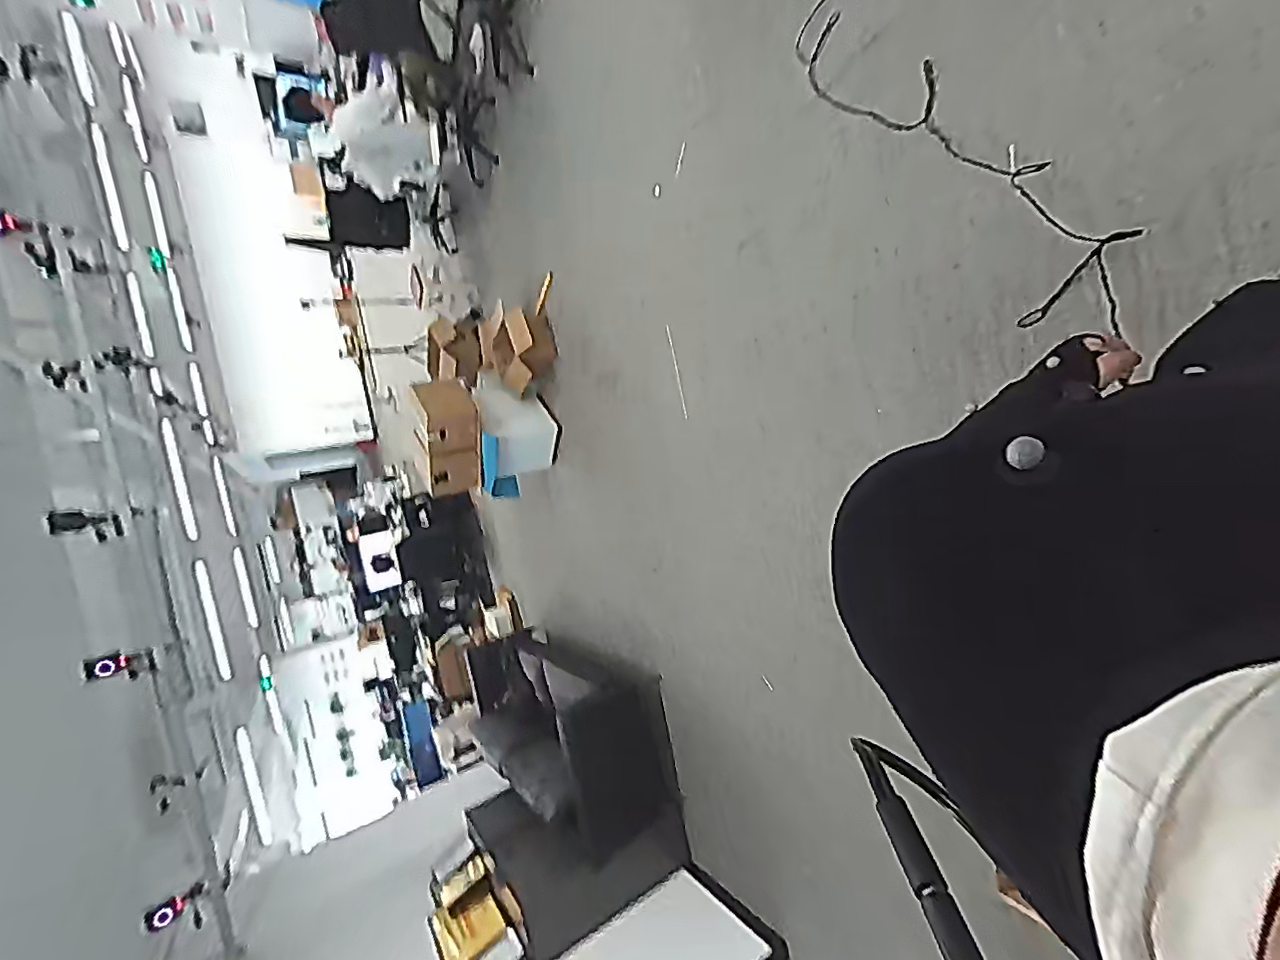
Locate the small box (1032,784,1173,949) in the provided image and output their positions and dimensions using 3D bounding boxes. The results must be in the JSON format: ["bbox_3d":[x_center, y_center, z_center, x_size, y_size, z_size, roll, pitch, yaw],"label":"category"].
[{"bbox_3d":[0.904,0.732,1.055,0.179,0.176,0.168,2,102,57],"label":"small box"}]
